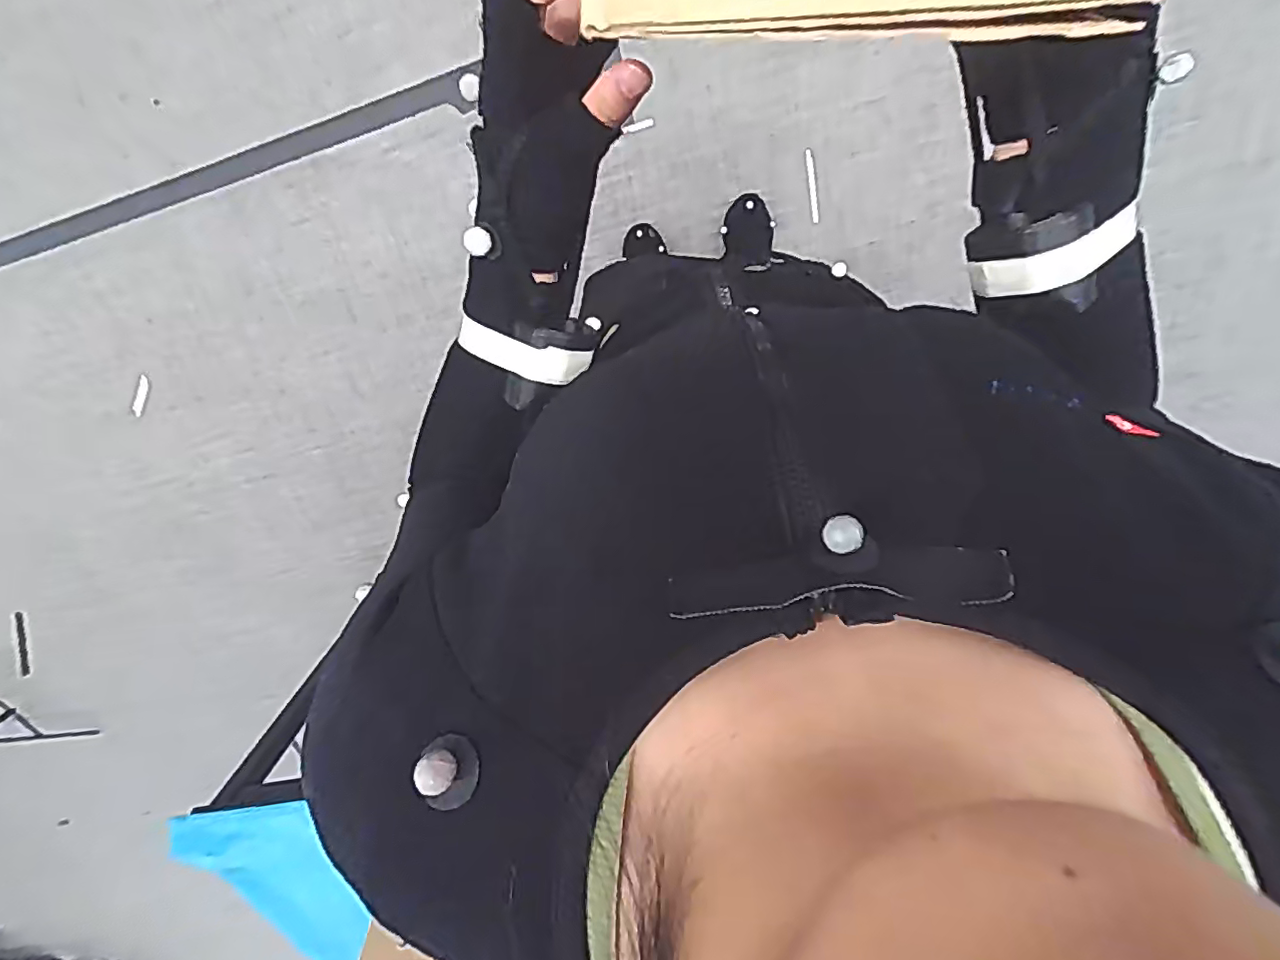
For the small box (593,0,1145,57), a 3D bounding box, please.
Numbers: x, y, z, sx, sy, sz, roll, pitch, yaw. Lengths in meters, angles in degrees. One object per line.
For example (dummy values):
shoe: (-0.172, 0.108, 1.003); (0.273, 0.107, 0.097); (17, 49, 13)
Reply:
small box: (0.065, -0.255, 0.167); (0.179, 0.168, 0.176); (-3, 134, 2)
